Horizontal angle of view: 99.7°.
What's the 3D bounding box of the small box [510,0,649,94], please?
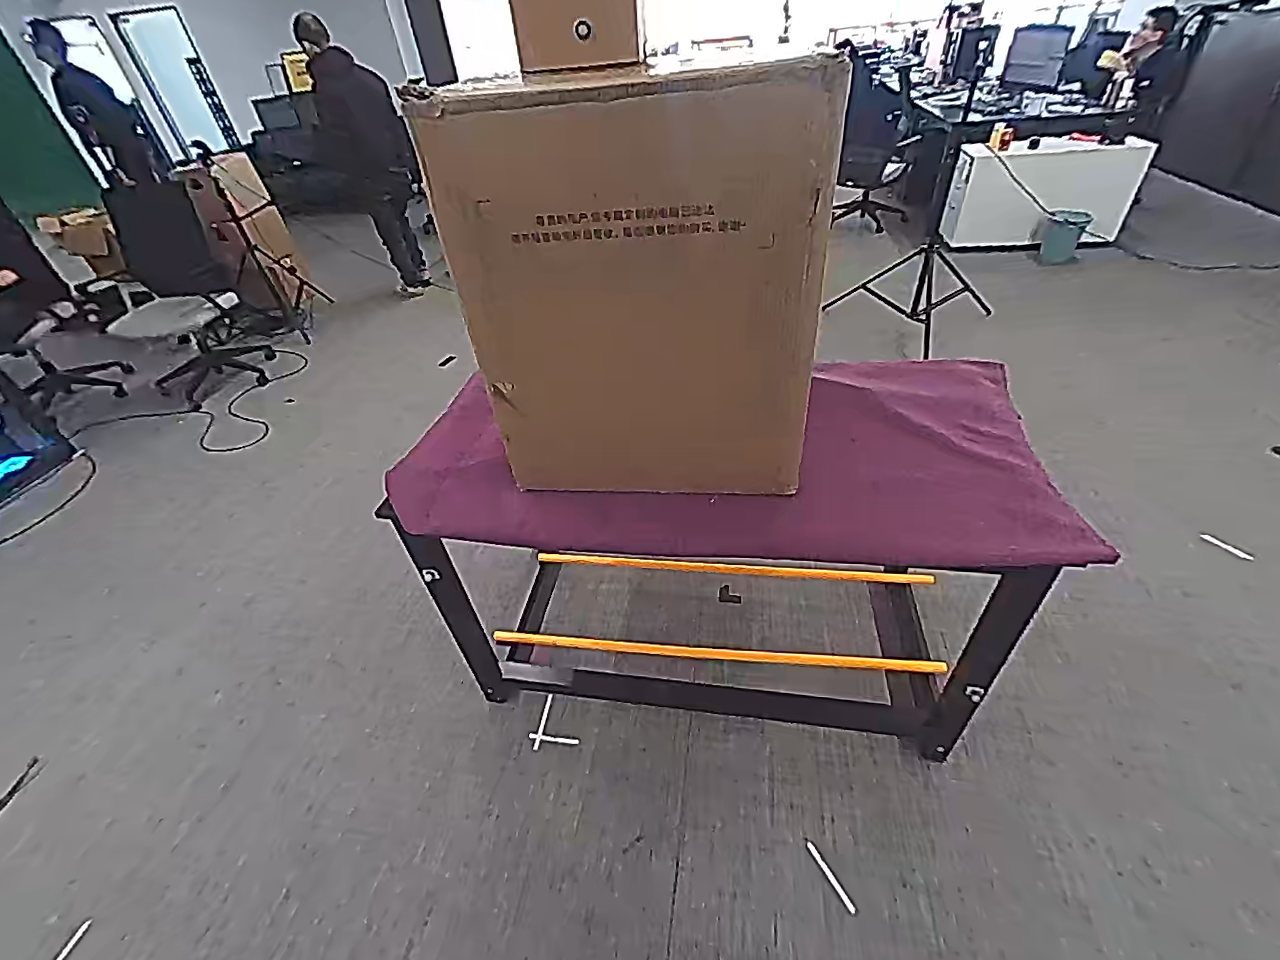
[{"bbox_3d":[-0.085,-0.684,0.790,0.179,0.176,0.168,0,40,7],"label":"small box"}]
